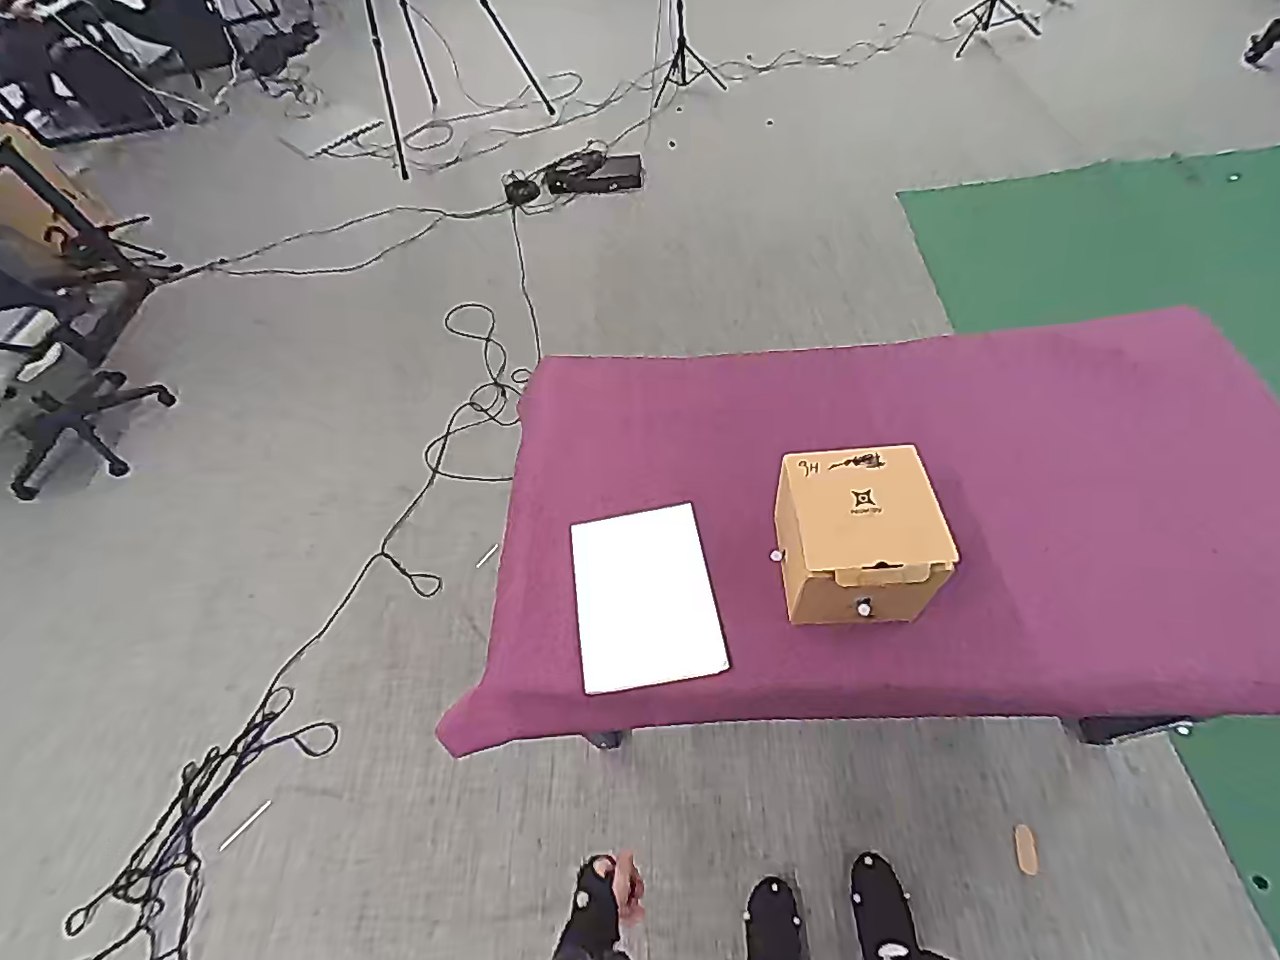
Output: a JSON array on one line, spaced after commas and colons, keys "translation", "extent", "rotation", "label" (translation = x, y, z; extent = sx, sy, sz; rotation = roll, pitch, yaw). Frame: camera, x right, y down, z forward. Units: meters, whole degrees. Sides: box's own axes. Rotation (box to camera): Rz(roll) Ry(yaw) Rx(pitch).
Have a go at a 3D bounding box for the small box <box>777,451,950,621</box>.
[{"translation": [0.280, 0.083, 0.722], "extent": [0.168, 0.176, 0.179], "rotation": [-4, 56, 6], "label": "small box"}]
